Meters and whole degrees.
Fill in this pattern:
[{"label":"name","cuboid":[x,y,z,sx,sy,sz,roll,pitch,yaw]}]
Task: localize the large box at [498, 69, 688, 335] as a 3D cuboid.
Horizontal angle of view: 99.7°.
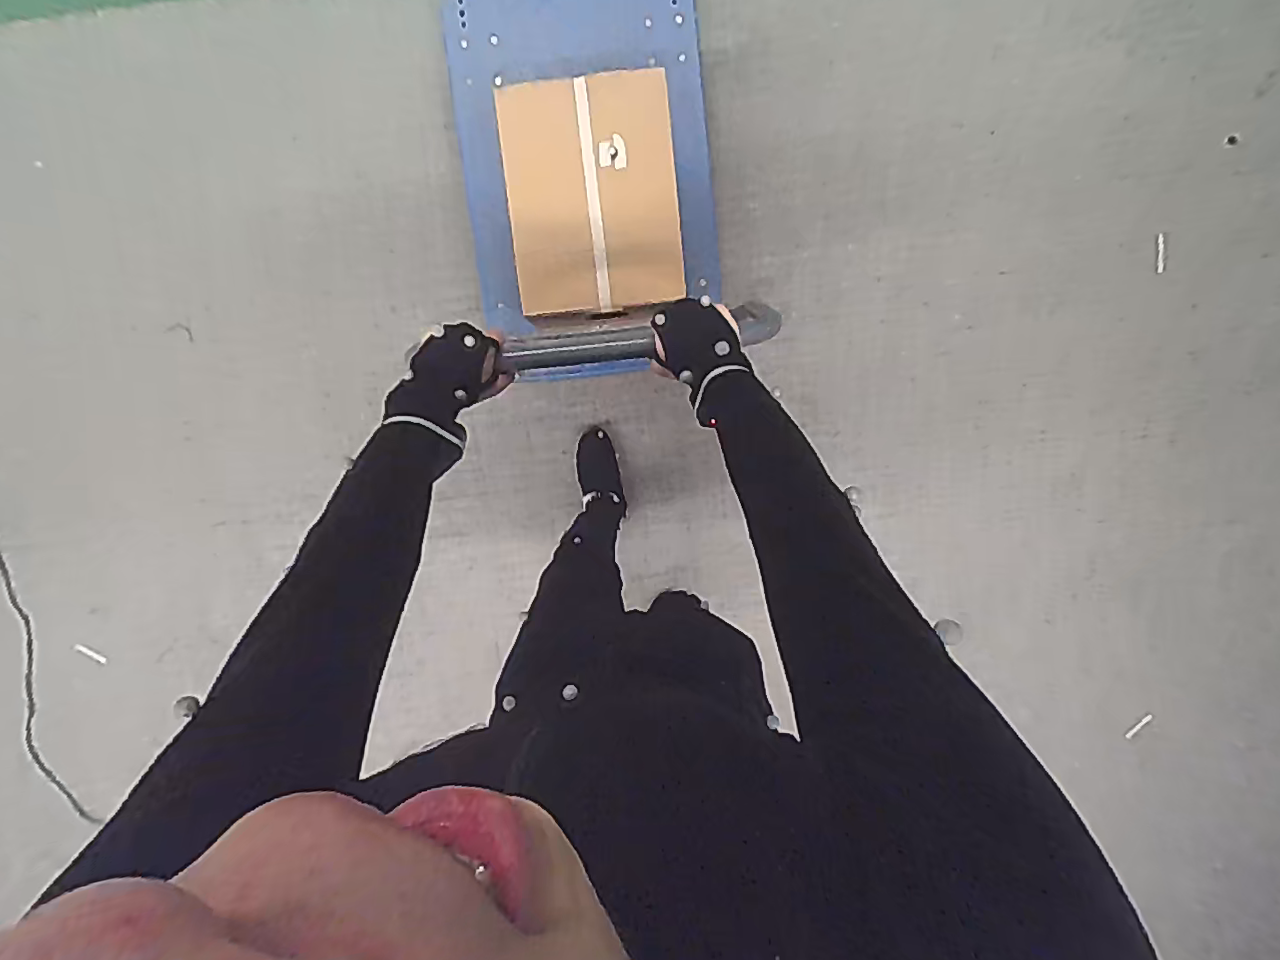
[{"label":"large box","cuboid":[-0.083,-0.546,1.145,0.320,0.320,0.408,-6,97,0]}]
